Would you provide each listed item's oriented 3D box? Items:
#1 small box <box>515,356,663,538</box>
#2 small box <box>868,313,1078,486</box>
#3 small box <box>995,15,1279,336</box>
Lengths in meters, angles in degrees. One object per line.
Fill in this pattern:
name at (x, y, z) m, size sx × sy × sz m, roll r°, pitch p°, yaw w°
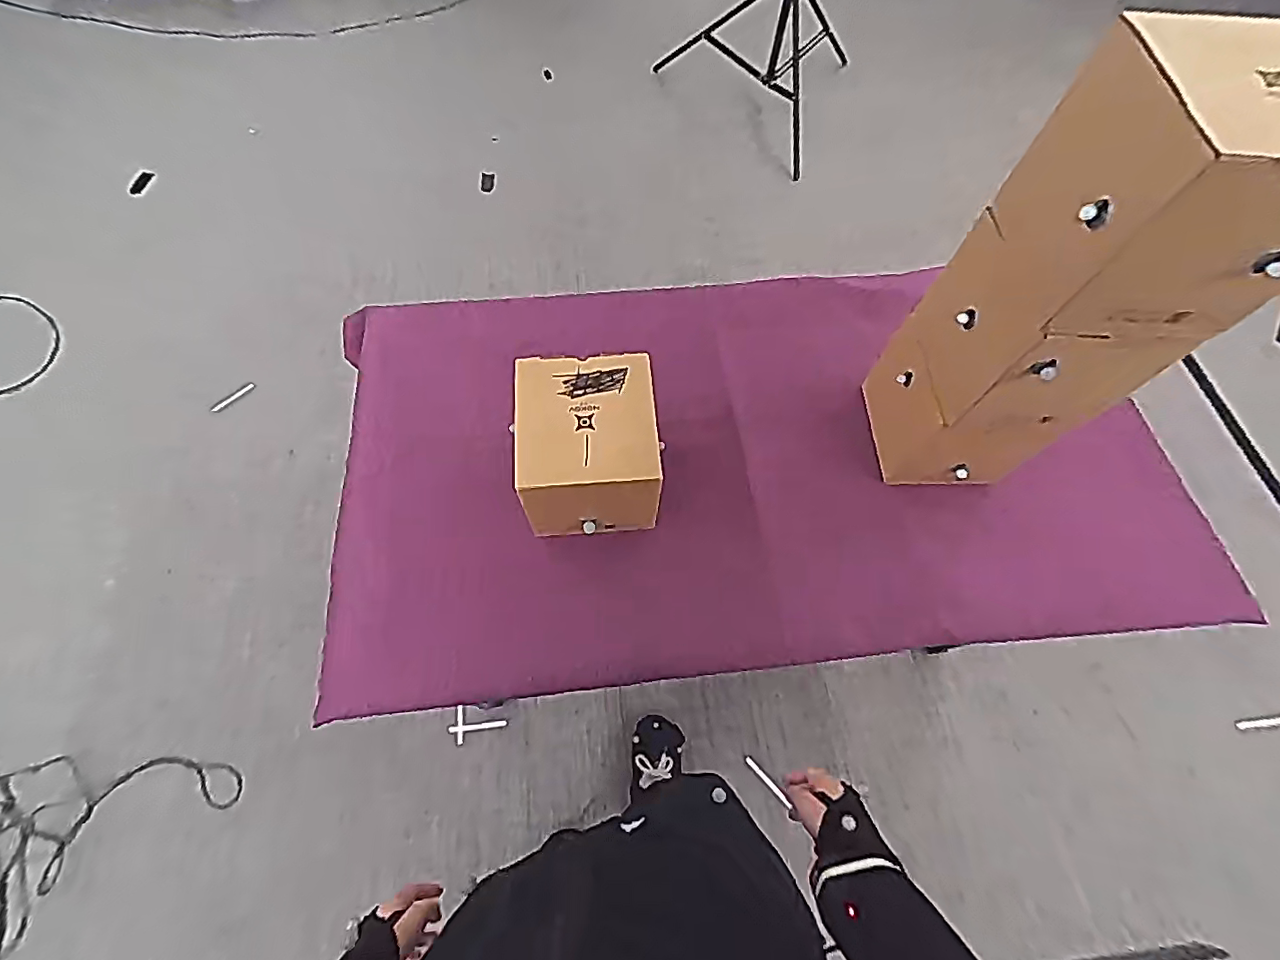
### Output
small box at (-0.064, -0.038, 0.700) m, size 0.168 × 0.176 × 0.179 m, roll -4°, pitch 66°, yaw -3°
small box at (0.437, -0.106, 0.747) m, size 0.168 × 0.176 × 0.179 m, roll 0°, pitch 65°, yaw -1°
small box at (0.441, -0.239, 0.449) m, size 0.168 × 0.176 × 0.179 m, roll 2°, pitch 64°, yaw -2°
